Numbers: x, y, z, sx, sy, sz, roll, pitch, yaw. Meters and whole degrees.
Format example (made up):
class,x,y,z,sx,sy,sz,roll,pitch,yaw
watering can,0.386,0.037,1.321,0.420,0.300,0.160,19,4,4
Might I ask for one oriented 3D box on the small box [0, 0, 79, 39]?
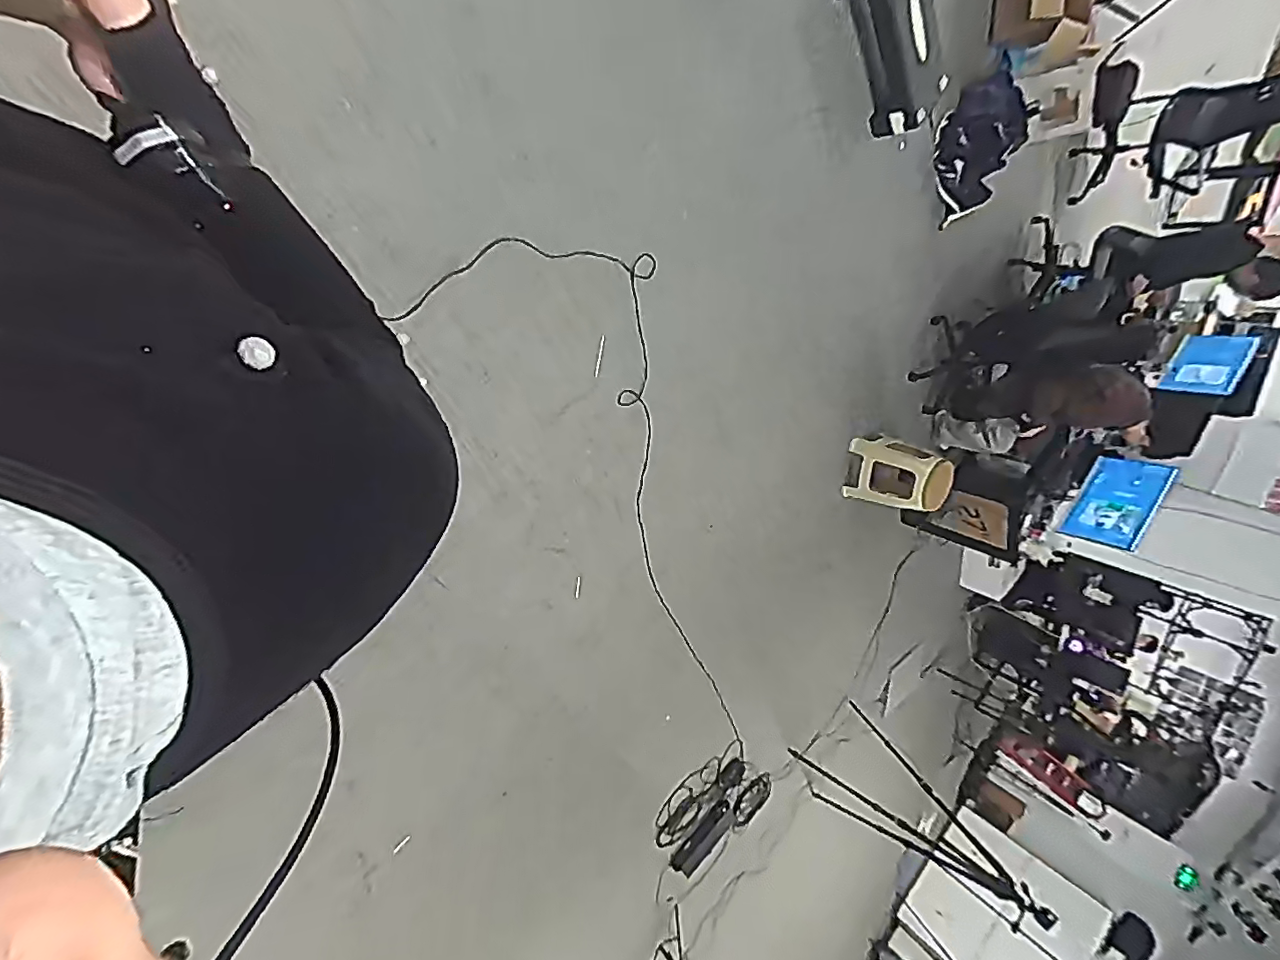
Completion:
class,x,y,z,sx,sy,sz,roll,pitch,yaw
small box,-0.411,-0.337,0.255,0.179,0.176,0.168,-16,123,-36
